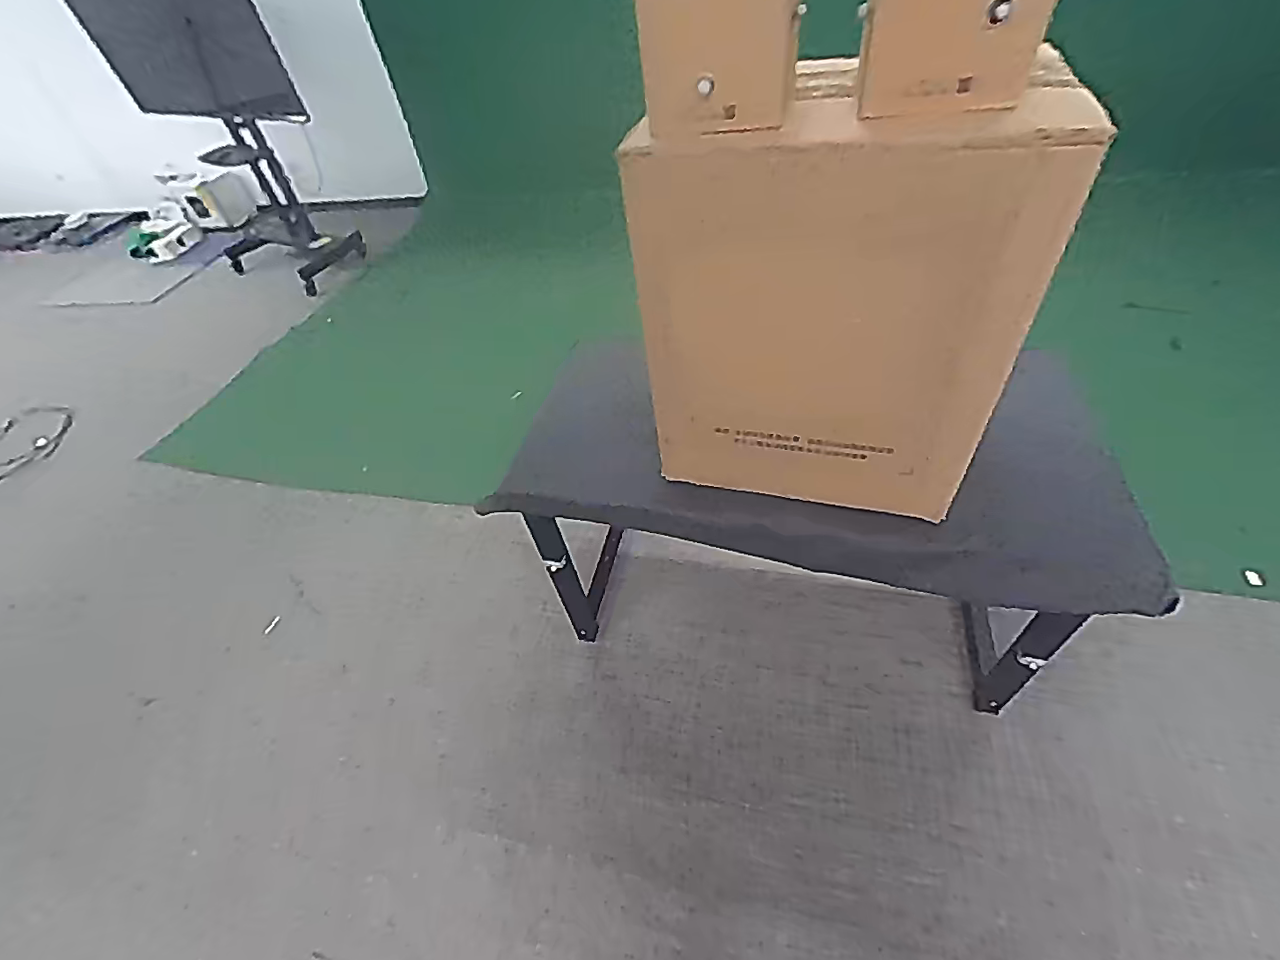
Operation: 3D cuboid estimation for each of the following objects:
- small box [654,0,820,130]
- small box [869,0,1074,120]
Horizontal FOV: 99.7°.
[{"bbox_3d":[0.119,-0.542,0.646,0.168,0.176,0.179,10,52,18],"label":"small box"},{"bbox_3d":[0.359,-0.516,0.594,0.168,0.176,0.179,7,51,11],"label":"small box"}]
